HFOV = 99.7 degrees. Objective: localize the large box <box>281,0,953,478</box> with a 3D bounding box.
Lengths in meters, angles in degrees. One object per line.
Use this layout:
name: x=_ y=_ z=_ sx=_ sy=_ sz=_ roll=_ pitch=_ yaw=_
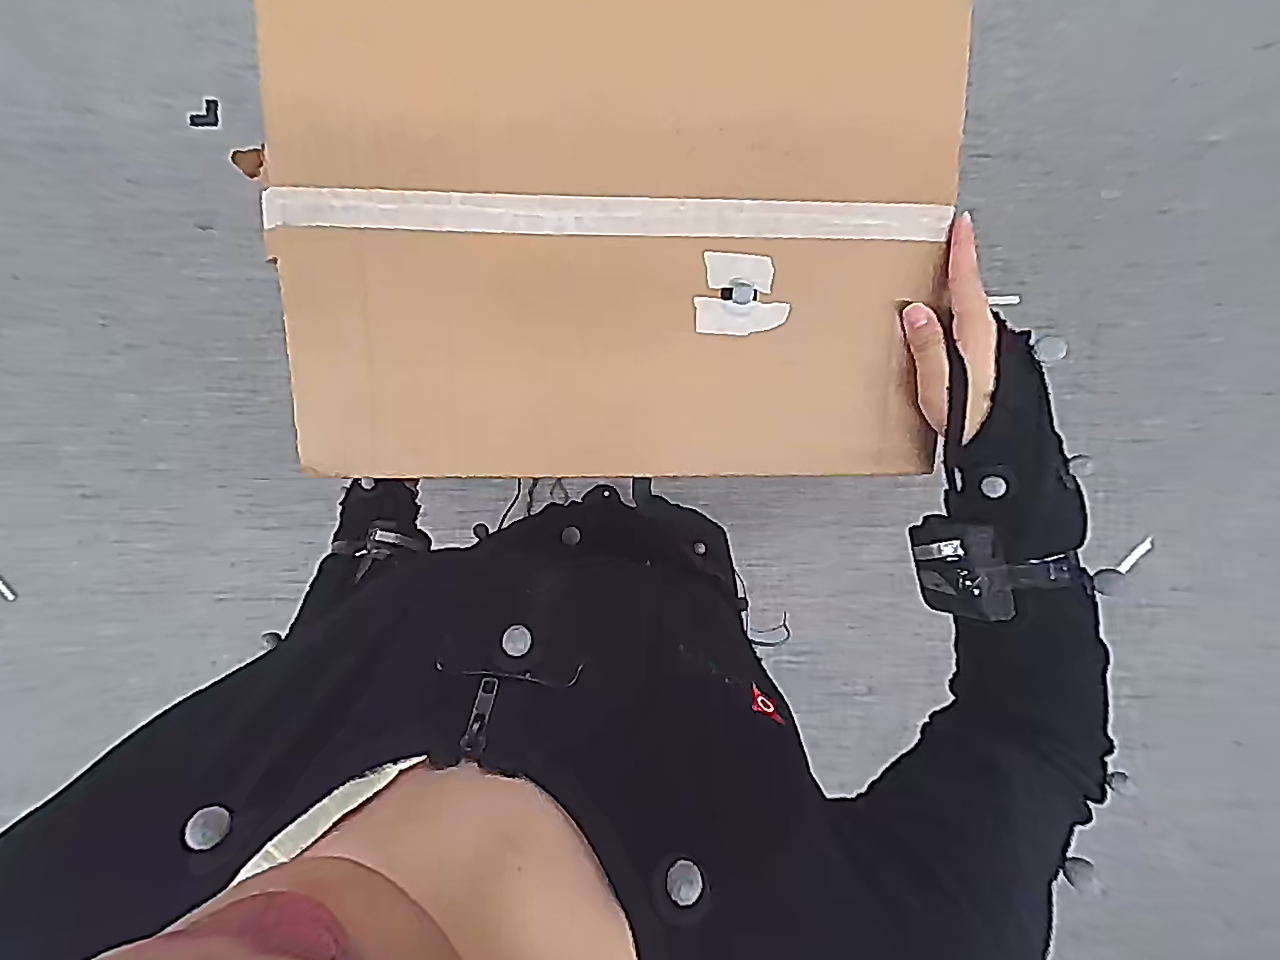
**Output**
large box: x=-0.017 y=-0.181 z=0.482 sx=0.408 sy=0.320 sz=0.320 roll=-1 pitch=100 yaw=-5
